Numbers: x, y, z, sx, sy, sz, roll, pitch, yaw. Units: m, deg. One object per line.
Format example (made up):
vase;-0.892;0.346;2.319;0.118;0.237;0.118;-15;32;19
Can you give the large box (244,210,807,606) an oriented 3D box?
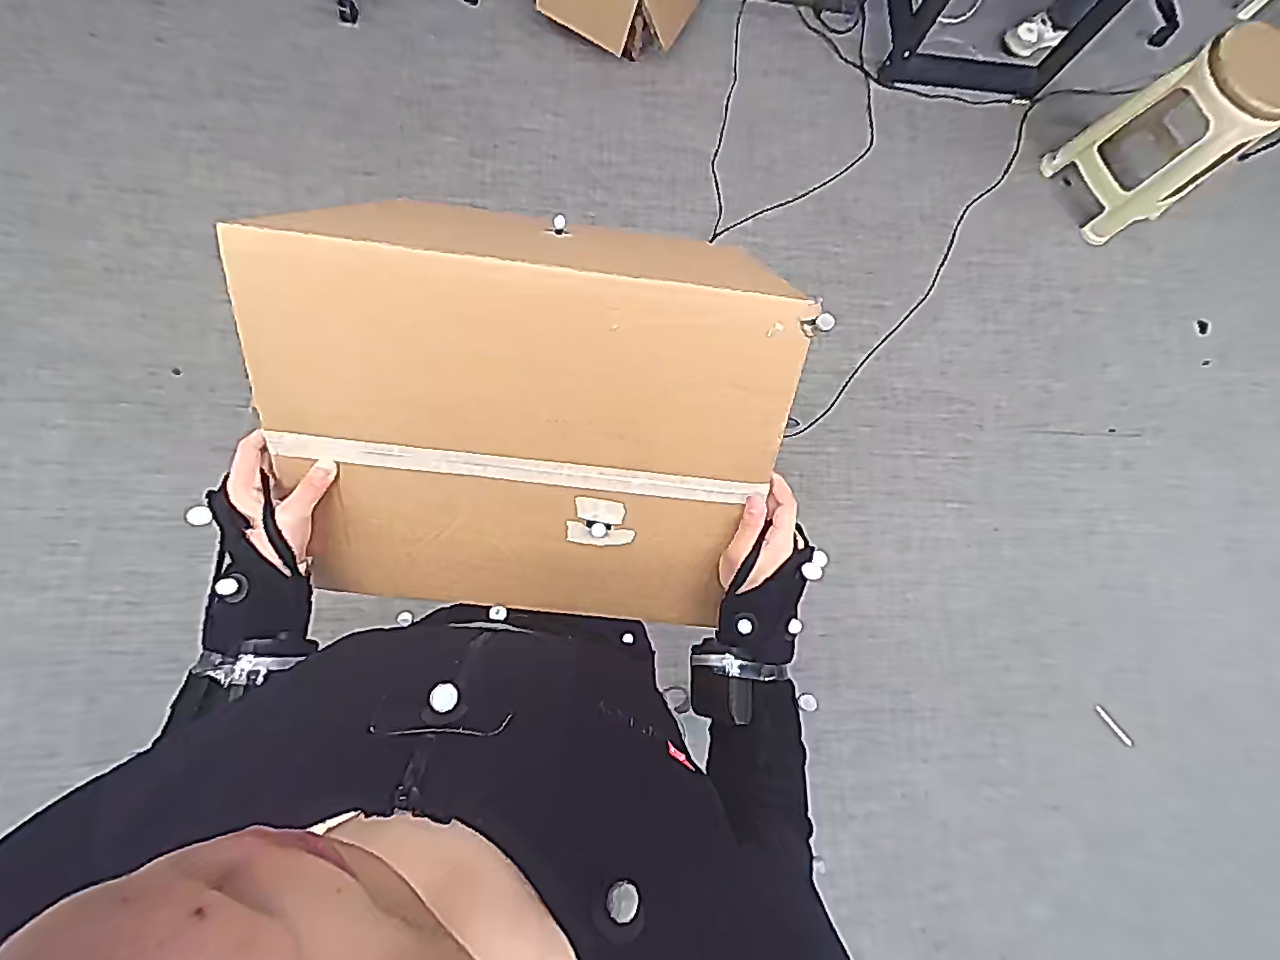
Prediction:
large box;-0.094;-0.094;0.582;0.408;0.320;0.320;5;121;-4
